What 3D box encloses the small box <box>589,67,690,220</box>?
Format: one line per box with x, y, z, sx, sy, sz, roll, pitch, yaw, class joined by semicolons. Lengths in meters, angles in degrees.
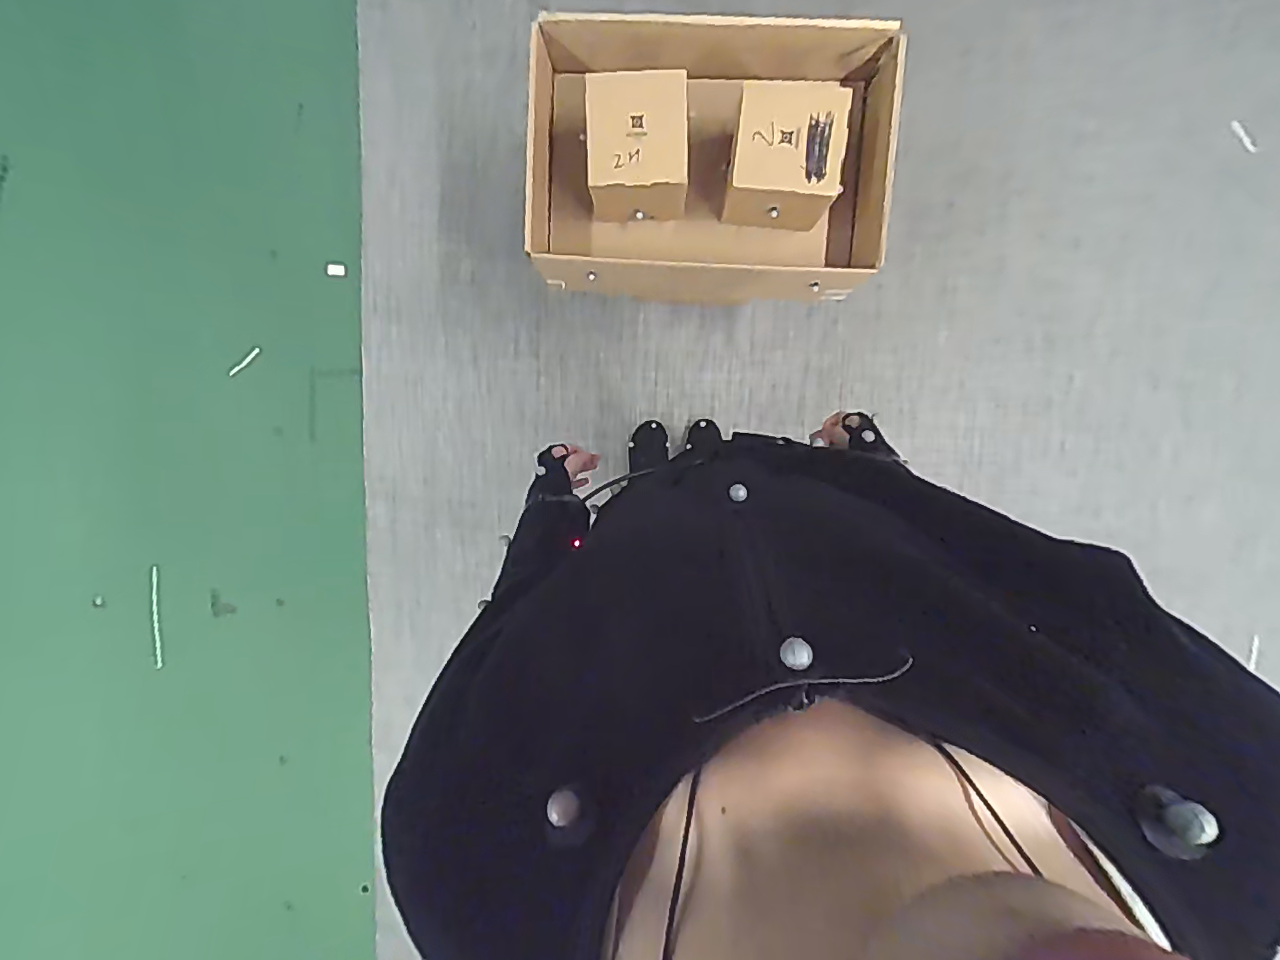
0.000;-0.581;0.951;0.168;0.176;0.179;0;96;2;small box
